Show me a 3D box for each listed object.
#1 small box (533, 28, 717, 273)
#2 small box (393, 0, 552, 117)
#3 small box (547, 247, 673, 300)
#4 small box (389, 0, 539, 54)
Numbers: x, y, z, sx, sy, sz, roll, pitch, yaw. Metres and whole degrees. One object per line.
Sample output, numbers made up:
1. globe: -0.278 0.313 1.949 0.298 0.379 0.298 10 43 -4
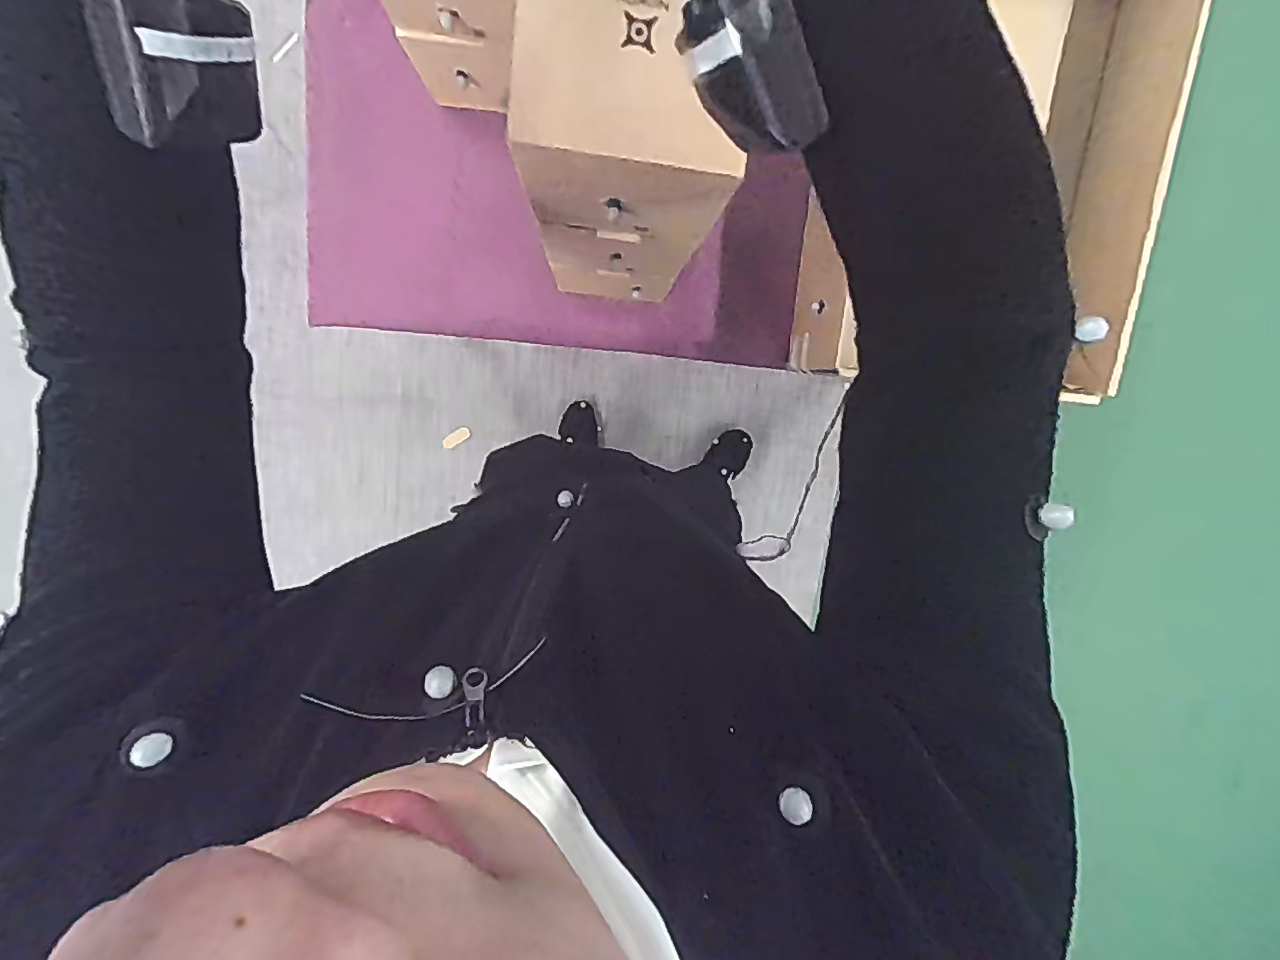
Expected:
1. small box: -0.021 -0.340 0.599 0.168 0.176 0.179 5 99 -6
2. small box: -0.208 -0.614 0.709 0.168 0.176 0.179 4 98 -4
3. small box: -0.033 -0.361 0.760 0.168 0.176 0.179 5 97 -5
4. small box: -0.189 -0.590 0.547 0.168 0.176 0.179 8 99 -5
